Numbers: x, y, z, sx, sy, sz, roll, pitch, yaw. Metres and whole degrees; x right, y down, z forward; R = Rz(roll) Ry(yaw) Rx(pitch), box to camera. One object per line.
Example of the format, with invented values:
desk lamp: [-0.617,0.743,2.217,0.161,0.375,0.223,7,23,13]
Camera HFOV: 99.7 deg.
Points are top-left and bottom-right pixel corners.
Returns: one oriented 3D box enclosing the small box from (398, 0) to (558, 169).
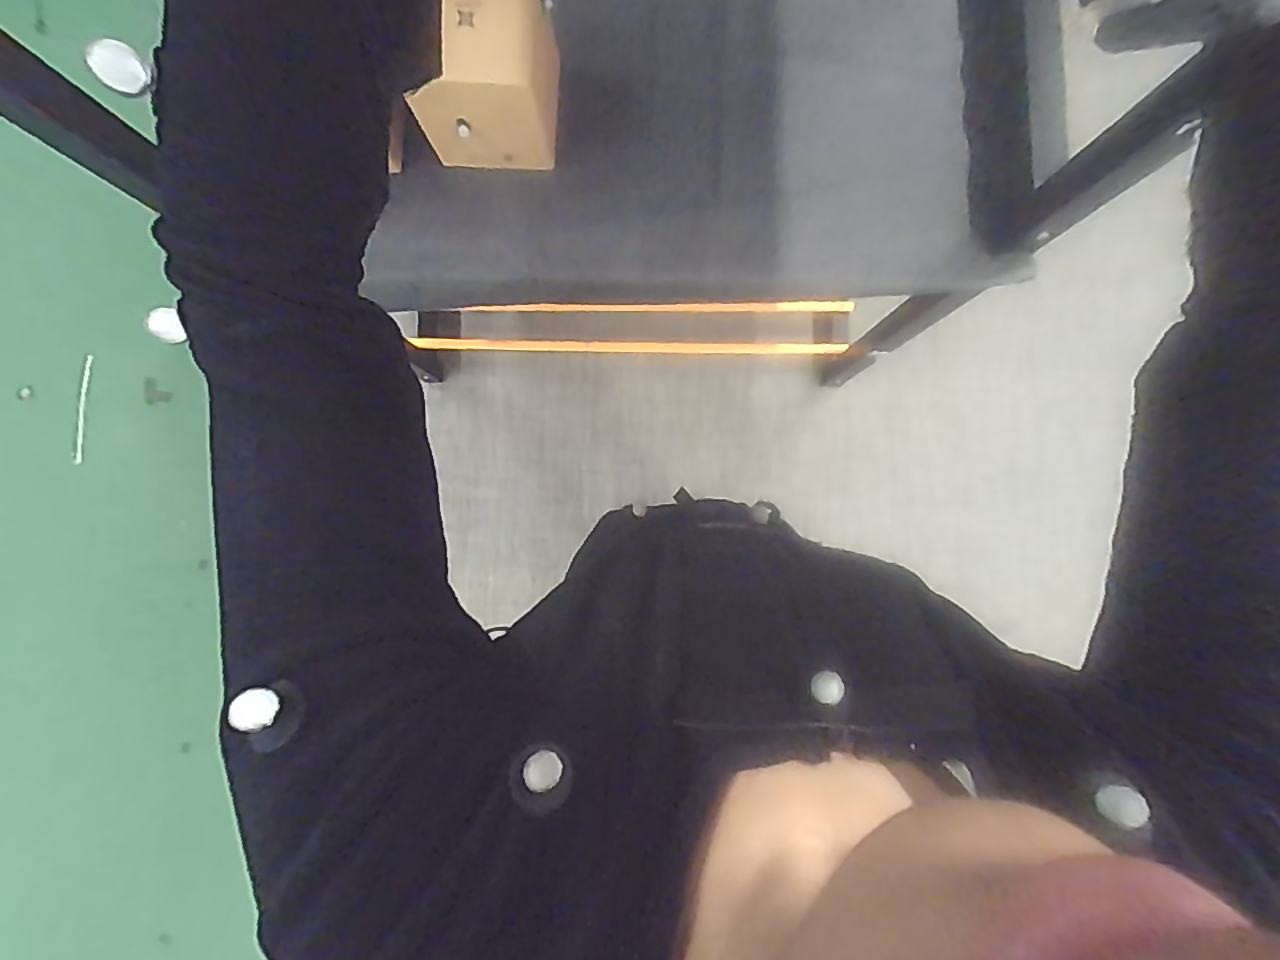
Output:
small box: [-0.209,-0.557,0.739,0.168,0.176,0.179,2,85,0]
